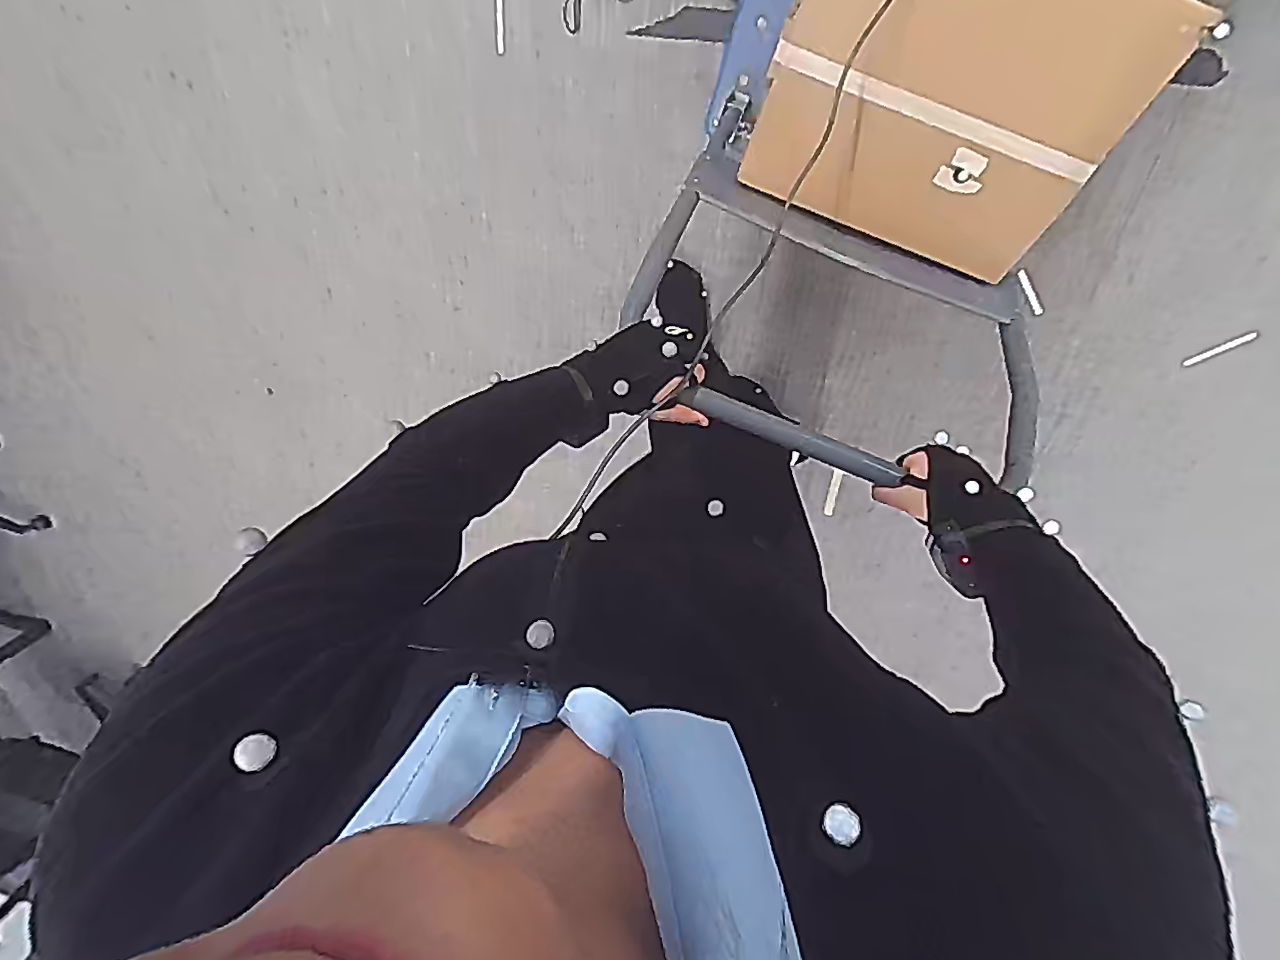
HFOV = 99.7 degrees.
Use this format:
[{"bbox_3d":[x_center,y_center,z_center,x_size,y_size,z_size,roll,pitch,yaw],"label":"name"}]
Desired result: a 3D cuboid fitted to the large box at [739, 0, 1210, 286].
[{"bbox_3d":[0.396,-0.543,0.755,0.408,0.320,0.320,21,140,-1],"label":"large box"}]
